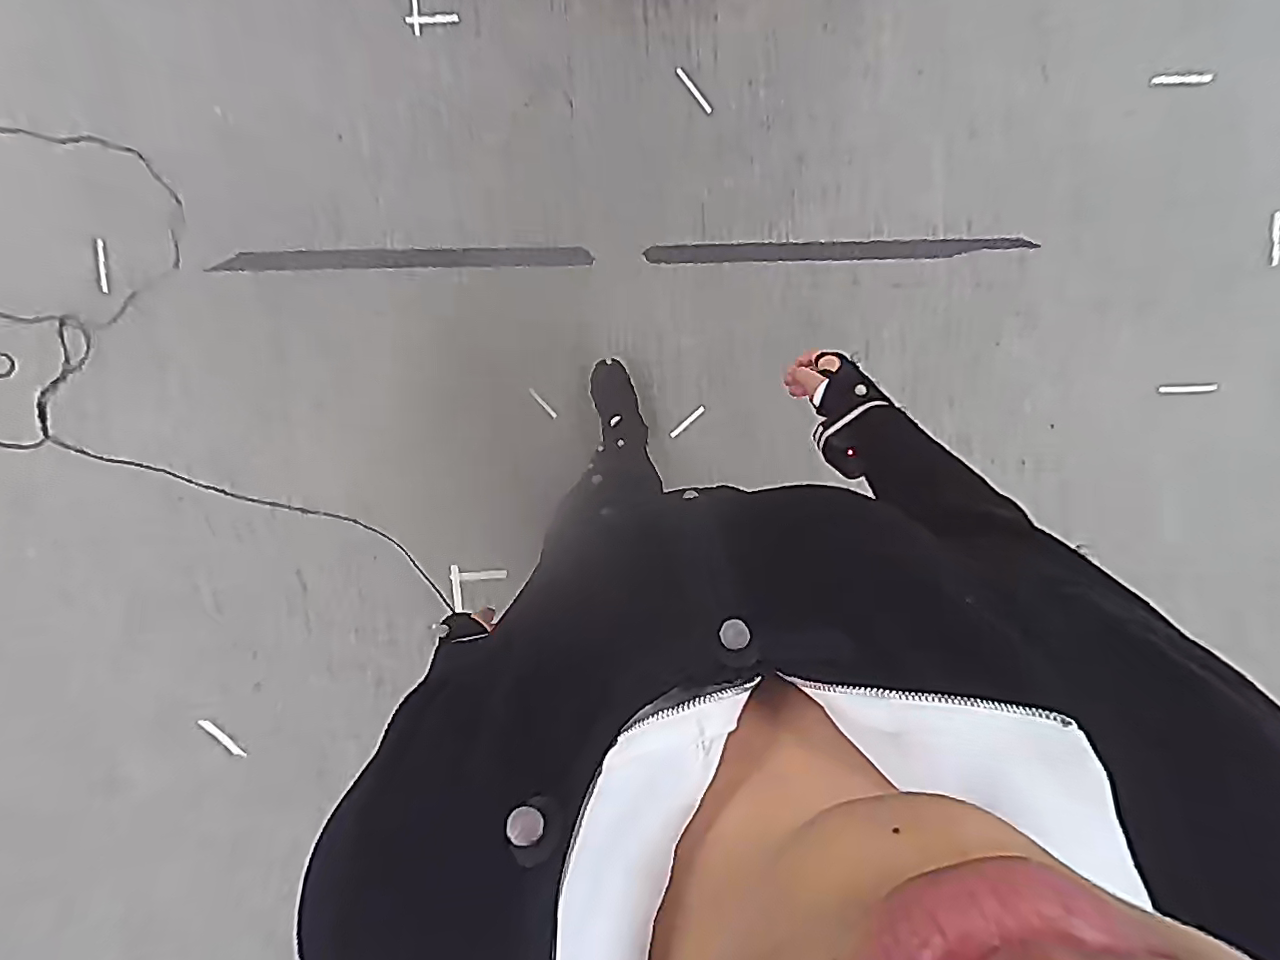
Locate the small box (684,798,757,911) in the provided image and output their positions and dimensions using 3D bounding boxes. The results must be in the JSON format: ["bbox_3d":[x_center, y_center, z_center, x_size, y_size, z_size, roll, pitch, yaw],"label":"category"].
[{"bbox_3d":[0.200,0.940,1.365,0.168,0.176,0.179,-3,95,0],"label":"small box"}]
